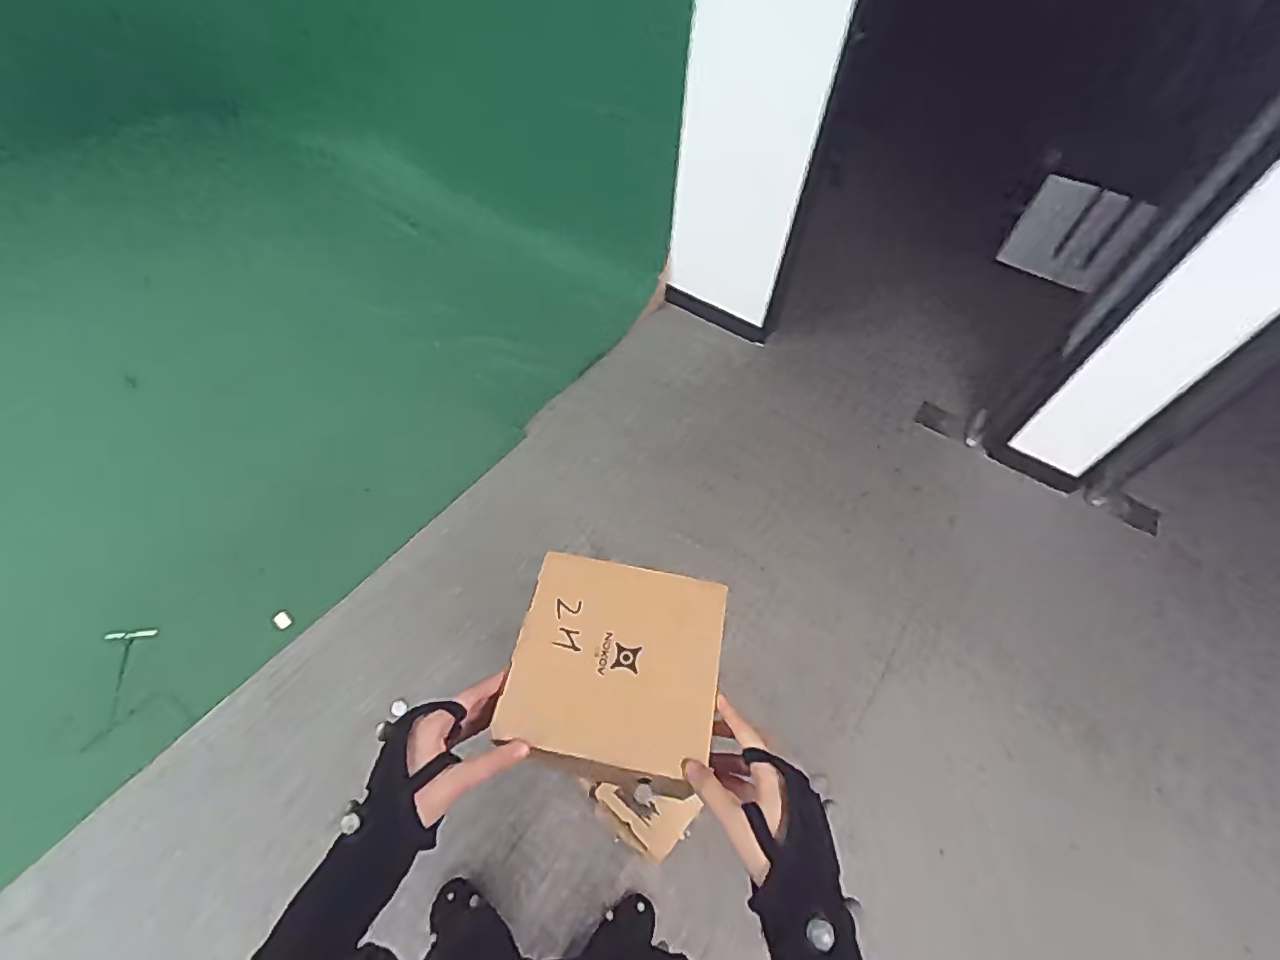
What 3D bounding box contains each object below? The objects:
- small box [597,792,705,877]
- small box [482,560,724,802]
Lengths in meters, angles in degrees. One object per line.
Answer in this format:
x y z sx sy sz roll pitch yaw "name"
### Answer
0.020 0.736 1.200 0.168 0.176 0.179 33 60 19 "small box"
-0.025 0.200 0.524 0.179 0.176 0.168 10 55 5 "small box"
